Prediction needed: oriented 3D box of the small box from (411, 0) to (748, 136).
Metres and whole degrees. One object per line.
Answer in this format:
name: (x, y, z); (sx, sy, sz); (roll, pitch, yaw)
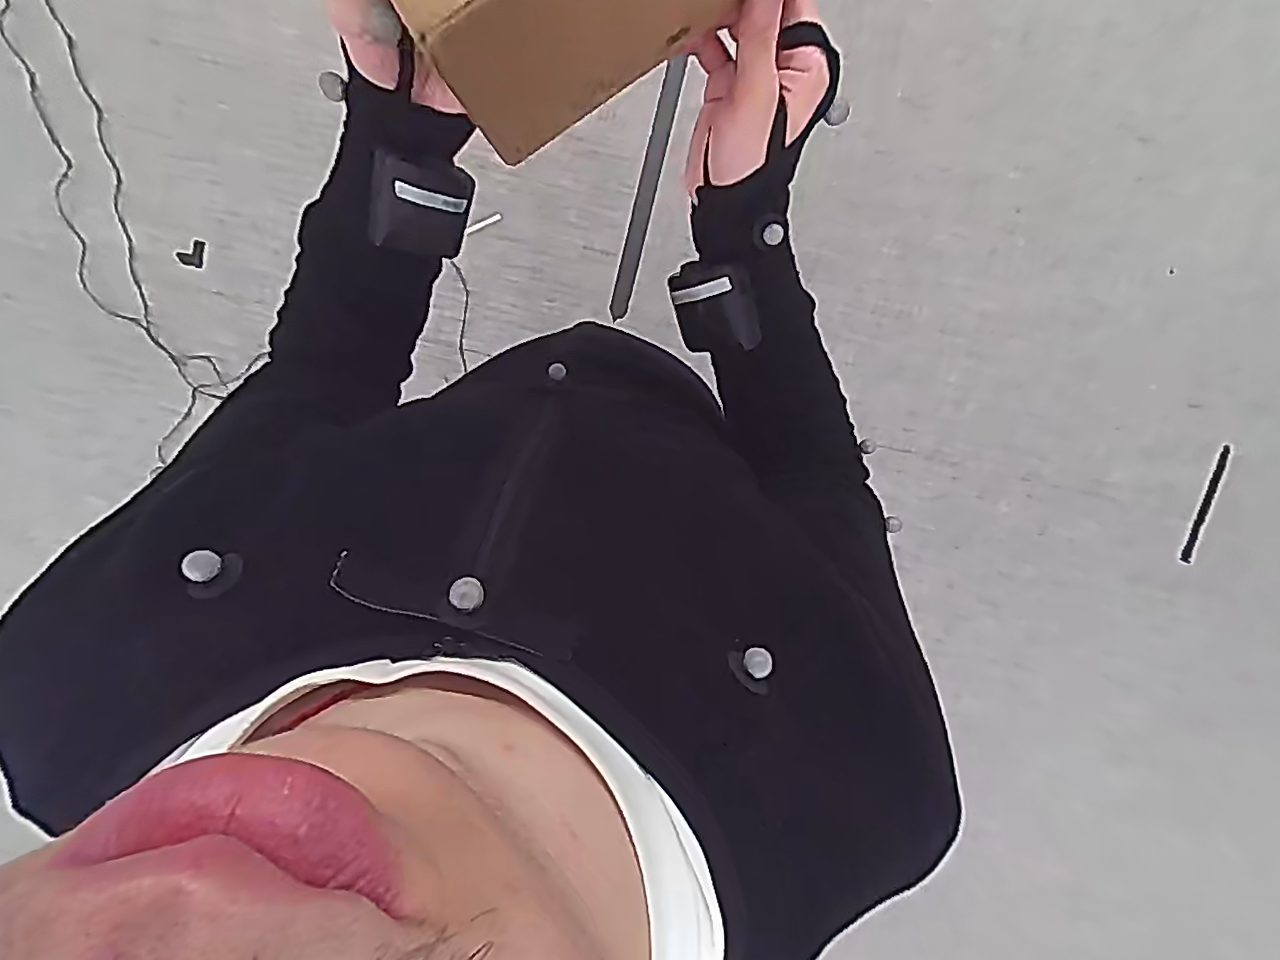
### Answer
small box: (-0.037, -0.260, 0.195); (0.168, 0.176, 0.179); (-32, 108, 5)
